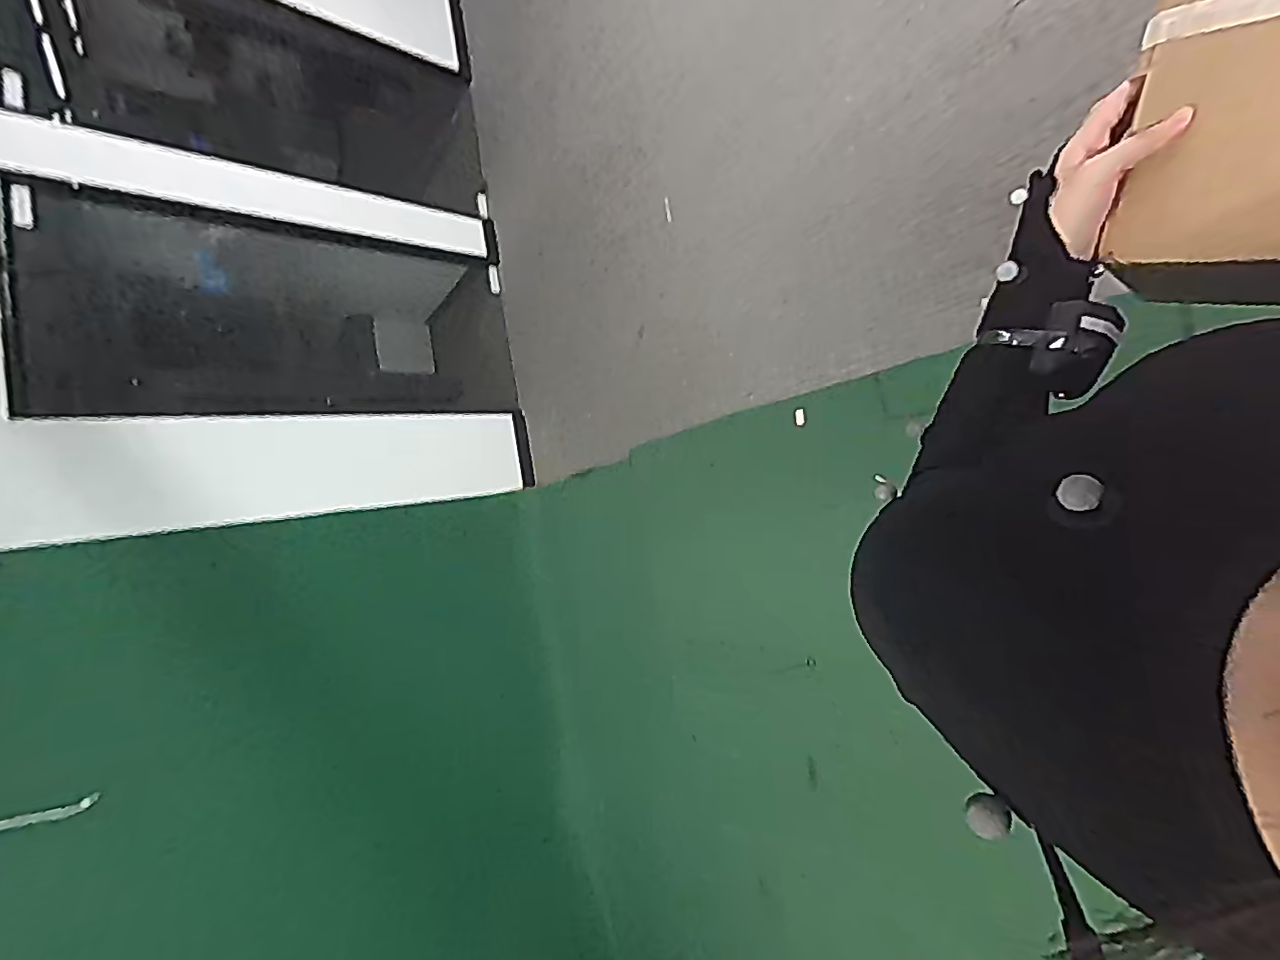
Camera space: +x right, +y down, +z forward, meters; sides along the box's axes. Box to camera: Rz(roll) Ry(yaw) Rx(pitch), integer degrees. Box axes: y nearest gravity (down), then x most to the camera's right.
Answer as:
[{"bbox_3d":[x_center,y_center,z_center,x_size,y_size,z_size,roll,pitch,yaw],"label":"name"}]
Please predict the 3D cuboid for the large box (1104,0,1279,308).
[{"bbox_3d":[0.613,-0.292,0.355,0.408,0.320,0.320,18,110,43],"label":"large box"}]
